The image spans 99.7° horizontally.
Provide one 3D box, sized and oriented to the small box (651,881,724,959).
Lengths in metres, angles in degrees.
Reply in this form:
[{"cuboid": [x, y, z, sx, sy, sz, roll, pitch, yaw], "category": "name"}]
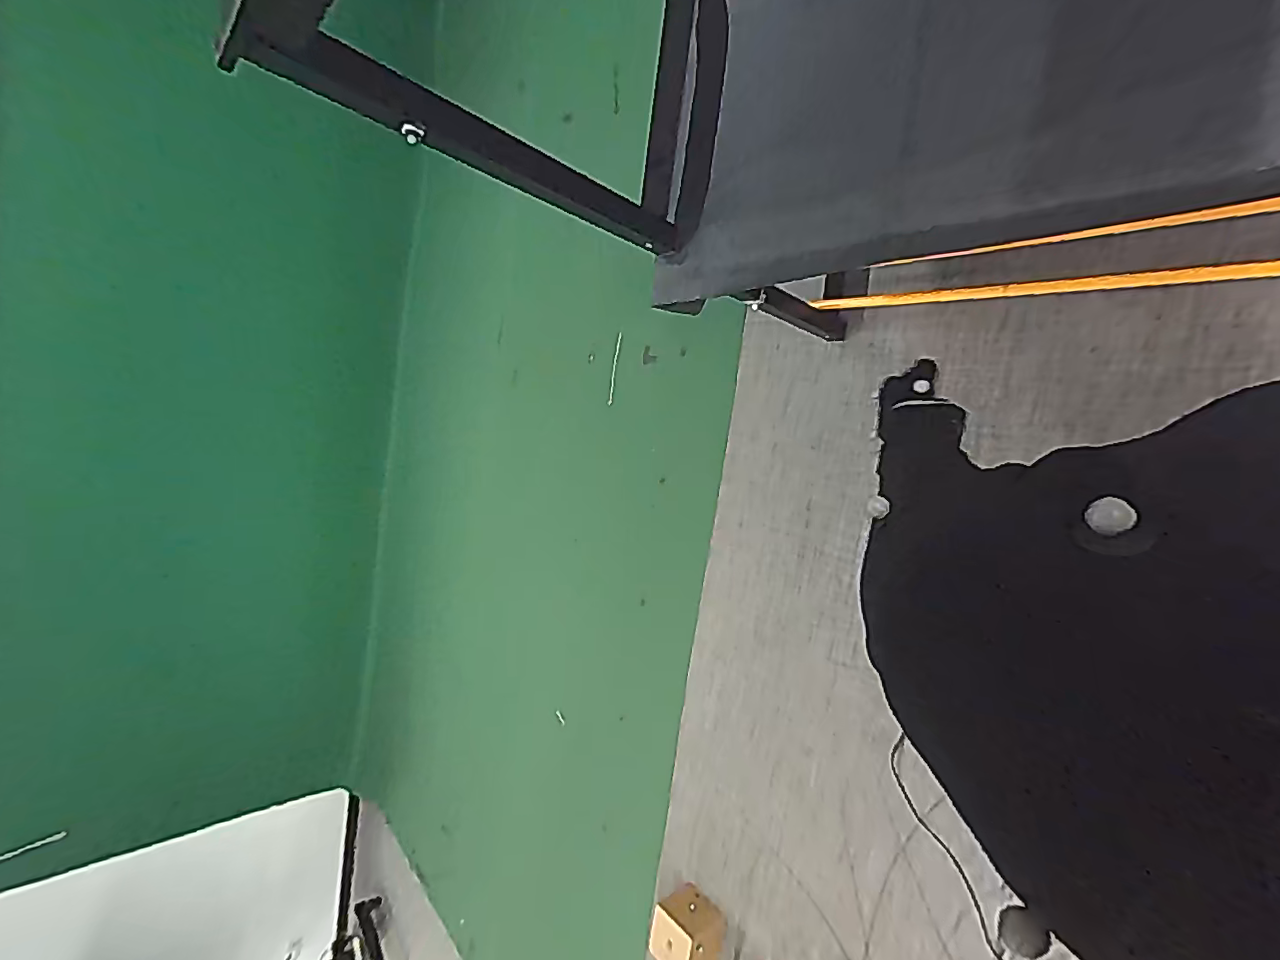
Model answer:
[{"cuboid": [0.164, 1.513, 1.821, 0.168, 0.176, 0.179, 15, 97, 46], "category": "small box"}]
